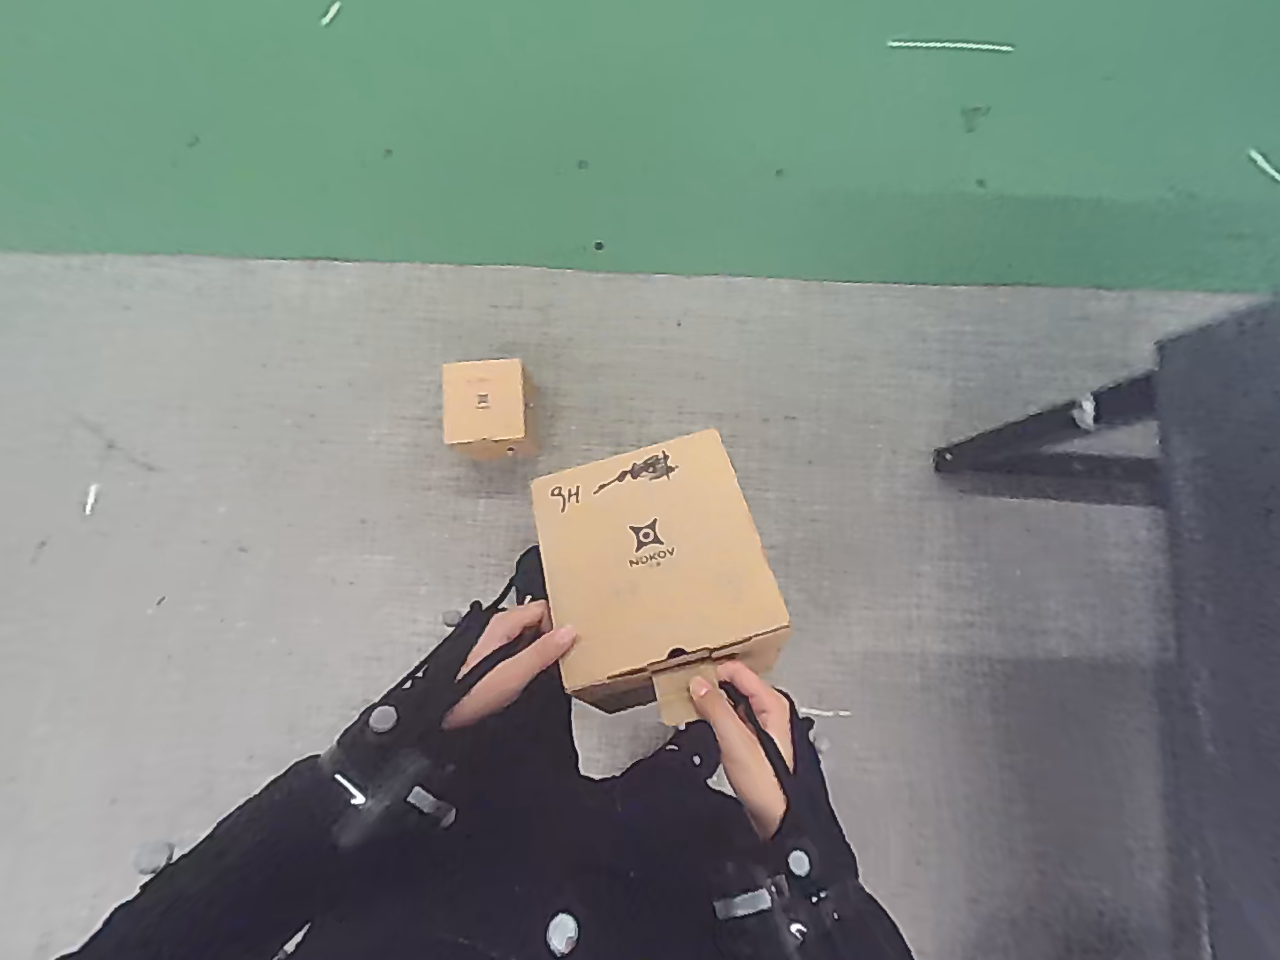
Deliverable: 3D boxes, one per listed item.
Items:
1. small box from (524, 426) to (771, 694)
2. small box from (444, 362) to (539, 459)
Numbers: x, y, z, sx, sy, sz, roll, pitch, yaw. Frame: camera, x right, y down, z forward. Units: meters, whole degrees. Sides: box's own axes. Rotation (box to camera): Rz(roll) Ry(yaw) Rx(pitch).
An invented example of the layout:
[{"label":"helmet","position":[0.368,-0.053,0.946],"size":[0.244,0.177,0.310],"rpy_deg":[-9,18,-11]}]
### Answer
[{"label":"small box","position":[0.009,0.084,0.491],"size":[0.168,0.176,0.179],"rpy_deg":[-16,60,0]},{"label":"small box","position":[-0.320,-0.144,1.190],"size":[0.168,0.176,0.179],"rpy_deg":[-4,81,-1]}]
